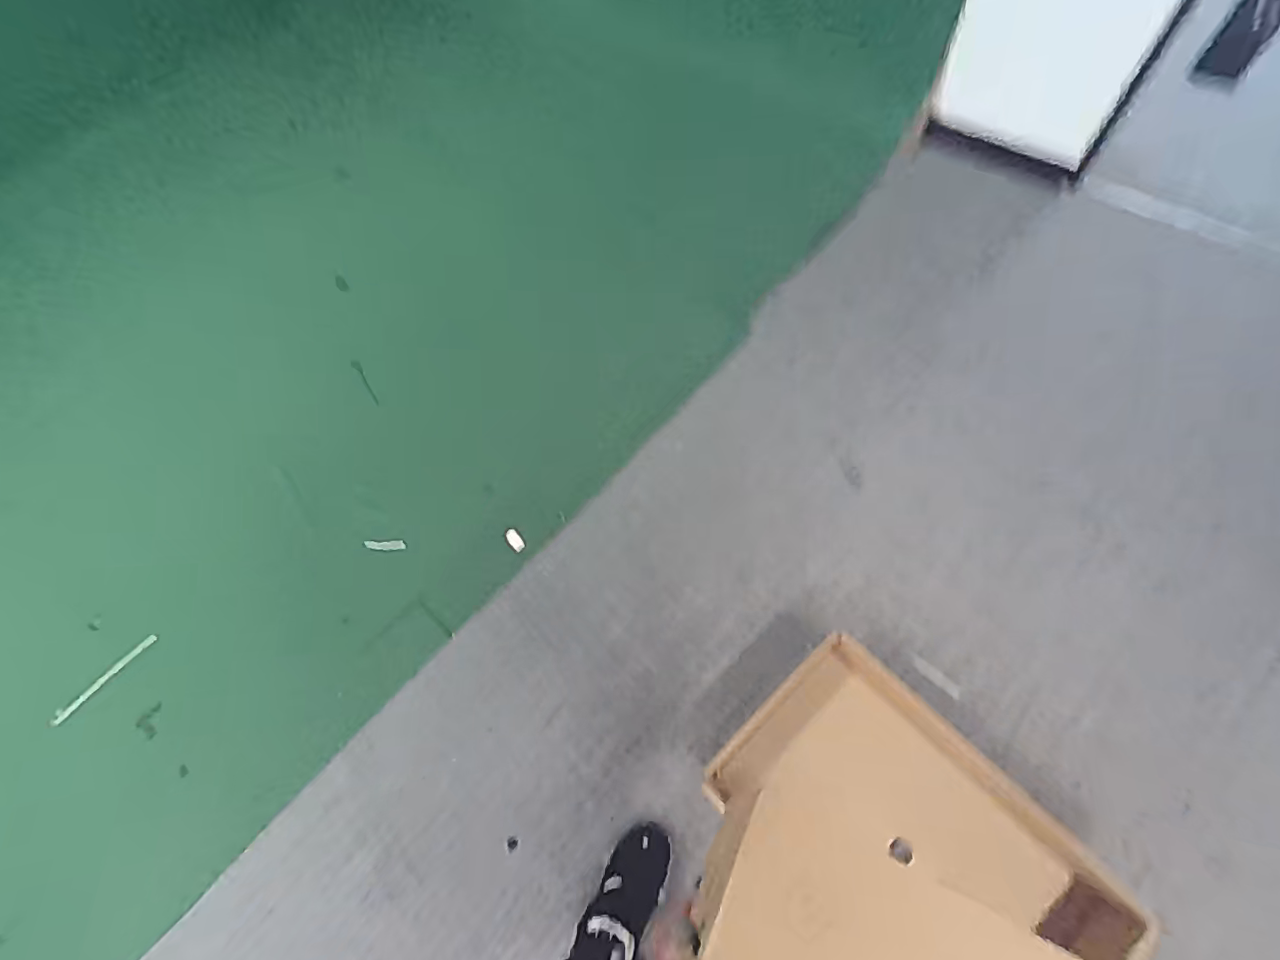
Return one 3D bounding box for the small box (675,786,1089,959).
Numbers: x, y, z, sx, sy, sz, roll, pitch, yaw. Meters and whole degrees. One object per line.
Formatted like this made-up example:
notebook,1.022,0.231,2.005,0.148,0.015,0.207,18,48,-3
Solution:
small box,0.096,0.284,0.268,0.168,0.176,0.179,20,63,19
